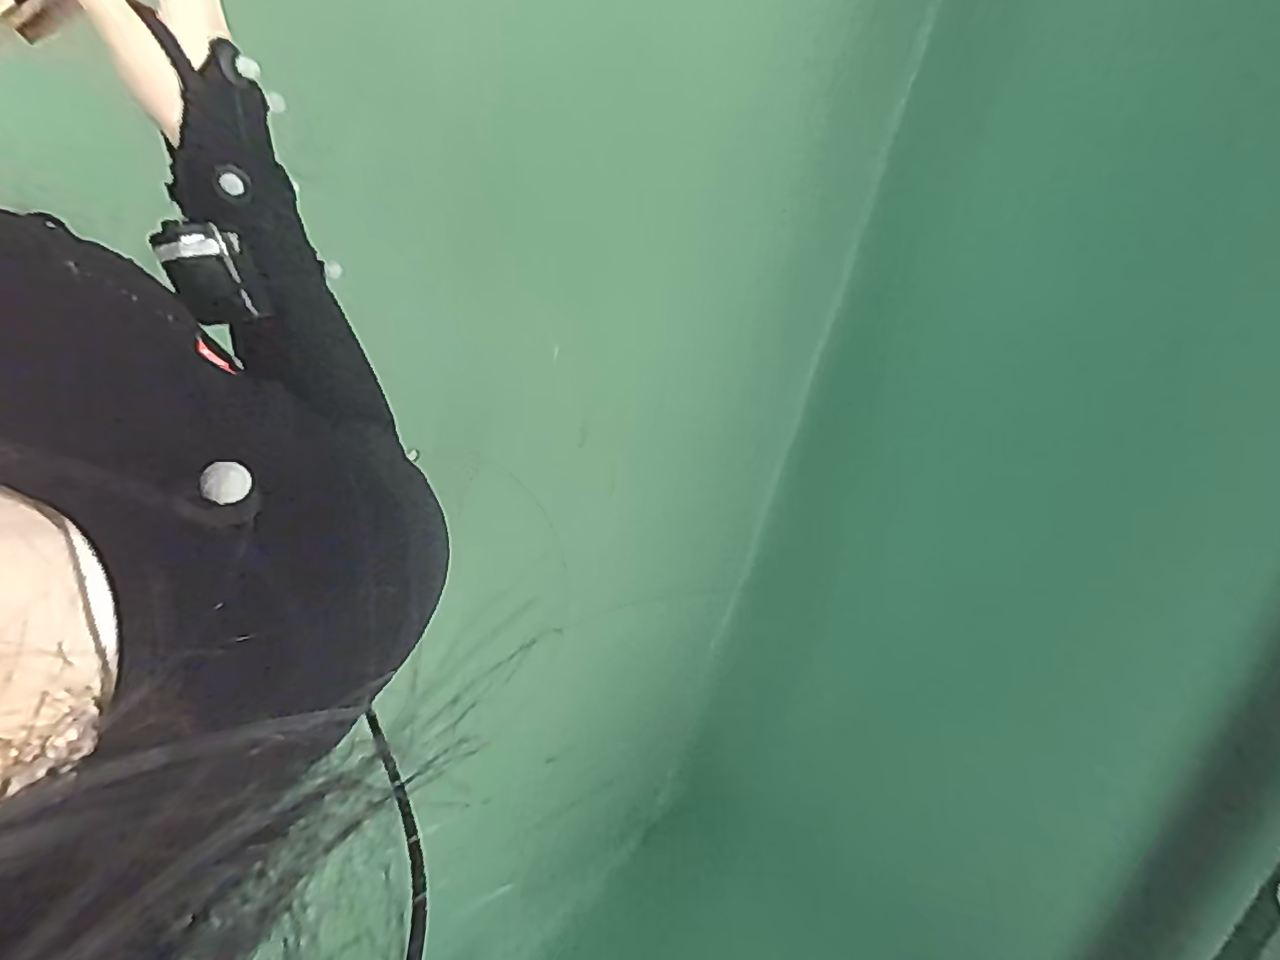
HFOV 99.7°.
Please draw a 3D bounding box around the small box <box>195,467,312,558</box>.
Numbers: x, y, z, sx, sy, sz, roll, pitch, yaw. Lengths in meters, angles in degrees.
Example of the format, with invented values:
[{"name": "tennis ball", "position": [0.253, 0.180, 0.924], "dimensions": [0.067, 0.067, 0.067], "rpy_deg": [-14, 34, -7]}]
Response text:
[{"name": "small box", "position": [-0.920, 0.078, 1.282], "dimensions": [0.179, 0.176, 0.168], "rpy_deg": [13, 101, -51]}]
